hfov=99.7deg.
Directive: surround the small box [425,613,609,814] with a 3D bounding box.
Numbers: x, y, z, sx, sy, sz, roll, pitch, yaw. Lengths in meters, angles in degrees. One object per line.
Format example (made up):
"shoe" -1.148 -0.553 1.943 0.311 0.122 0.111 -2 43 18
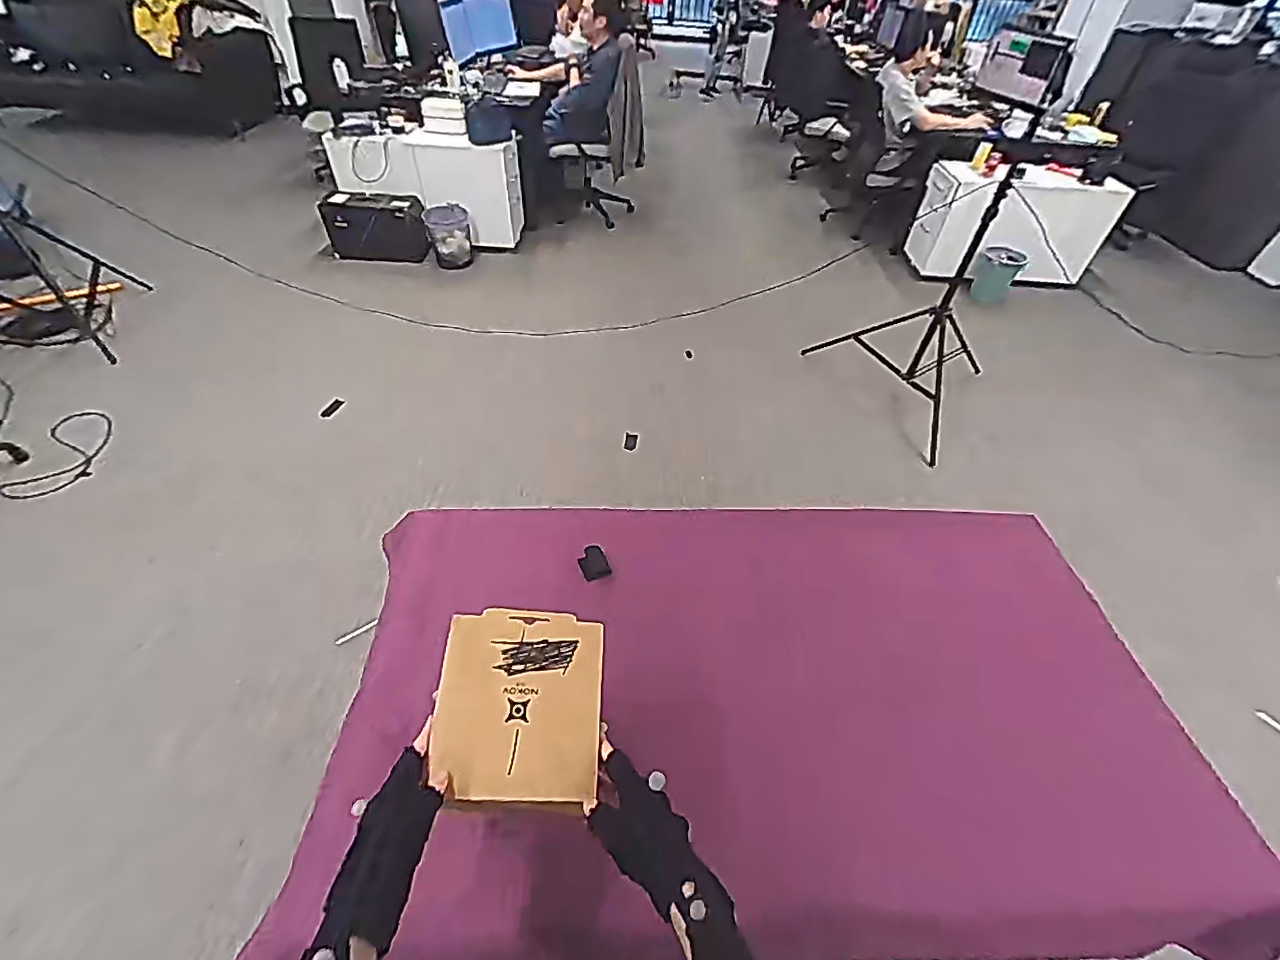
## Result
"small box" -0.129 0.268 0.612 0.168 0.176 0.179 5 55 -7
